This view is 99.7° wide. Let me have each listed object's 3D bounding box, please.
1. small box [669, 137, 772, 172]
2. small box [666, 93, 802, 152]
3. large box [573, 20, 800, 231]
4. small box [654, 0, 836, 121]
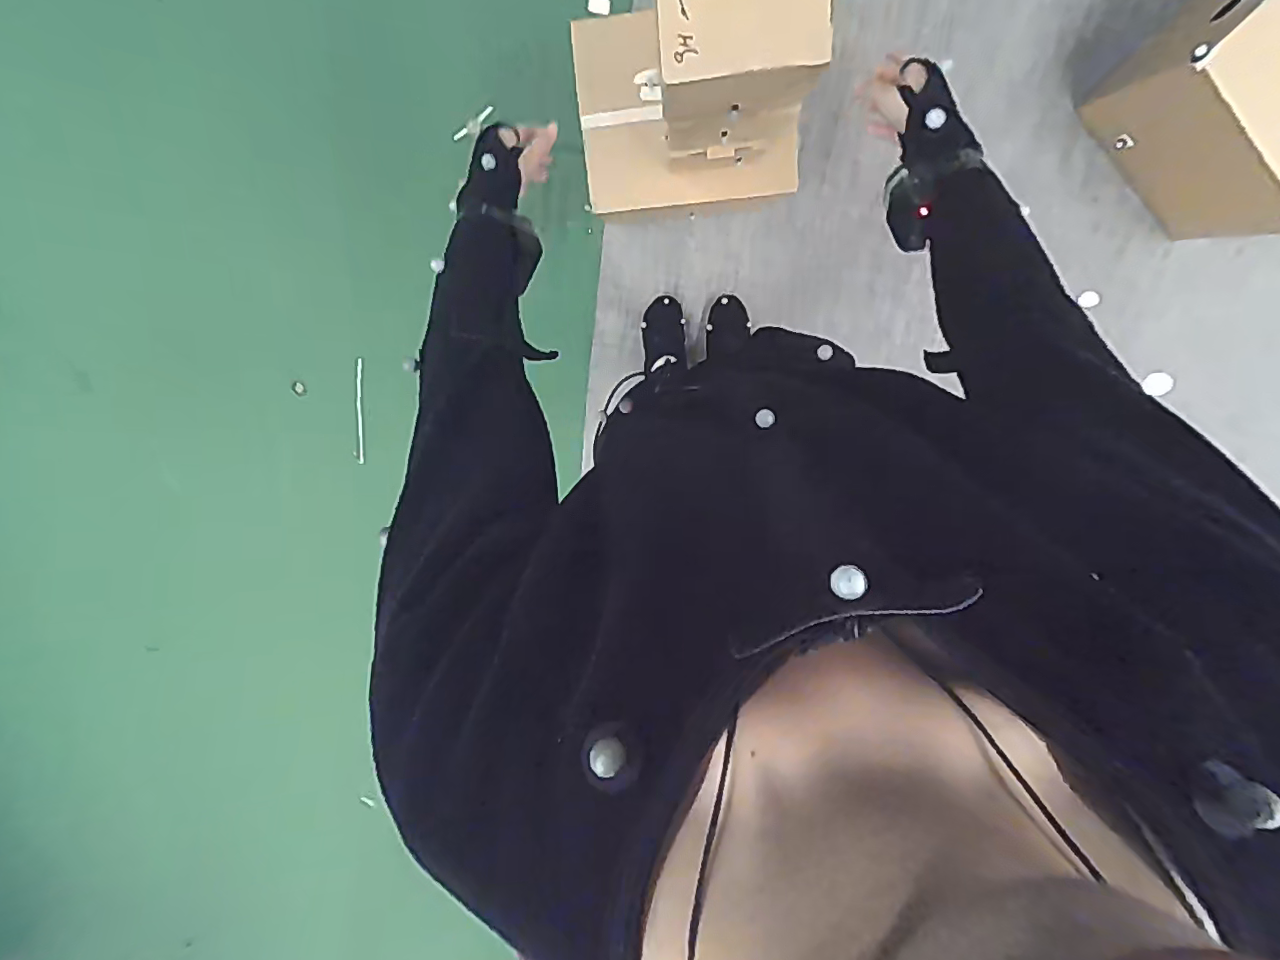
[{"bbox_3d":[0.130,-0.628,0.906,0.168,0.176,0.179,-3,110,5],"label":"small box"},{"bbox_3d":[0.120,-0.574,0.751,0.179,0.176,0.168,-4,110,6],"label":"small box"},{"bbox_3d":[0.105,-0.722,1.134,0.408,0.320,0.320,-3,109,7],"label":"large box"},{"bbox_3d":[0.105,-0.519,0.597,0.179,0.176,0.168,-4,110,5],"label":"small box"}]
